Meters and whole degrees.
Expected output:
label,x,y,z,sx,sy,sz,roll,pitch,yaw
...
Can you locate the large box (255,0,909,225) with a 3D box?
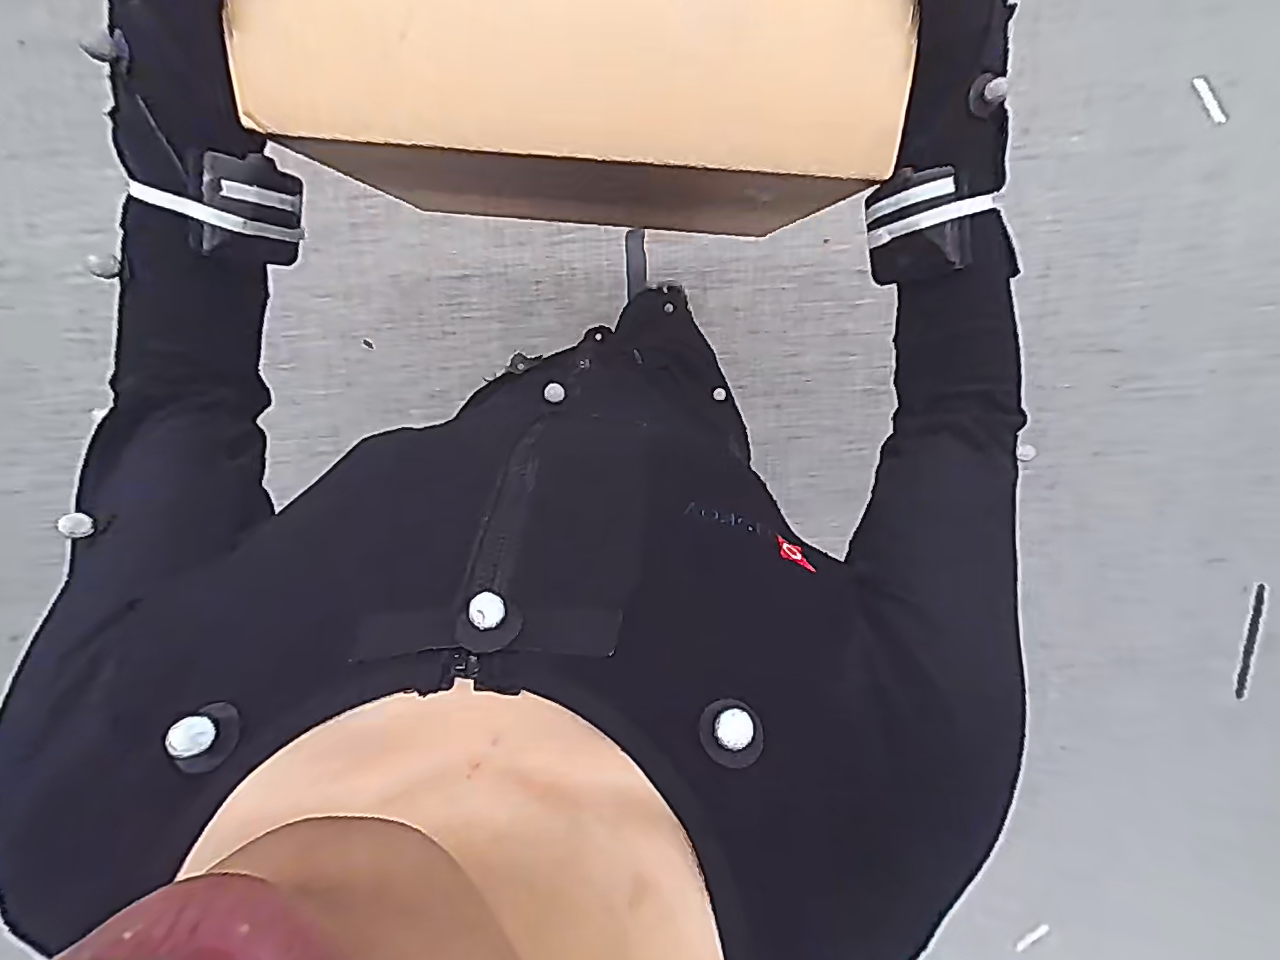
label,x,y,z,sx,sy,sz,roll,pitch,yaw
large box,-0.035,-0.409,0.447,0.408,0.320,0.320,2,108,-3
